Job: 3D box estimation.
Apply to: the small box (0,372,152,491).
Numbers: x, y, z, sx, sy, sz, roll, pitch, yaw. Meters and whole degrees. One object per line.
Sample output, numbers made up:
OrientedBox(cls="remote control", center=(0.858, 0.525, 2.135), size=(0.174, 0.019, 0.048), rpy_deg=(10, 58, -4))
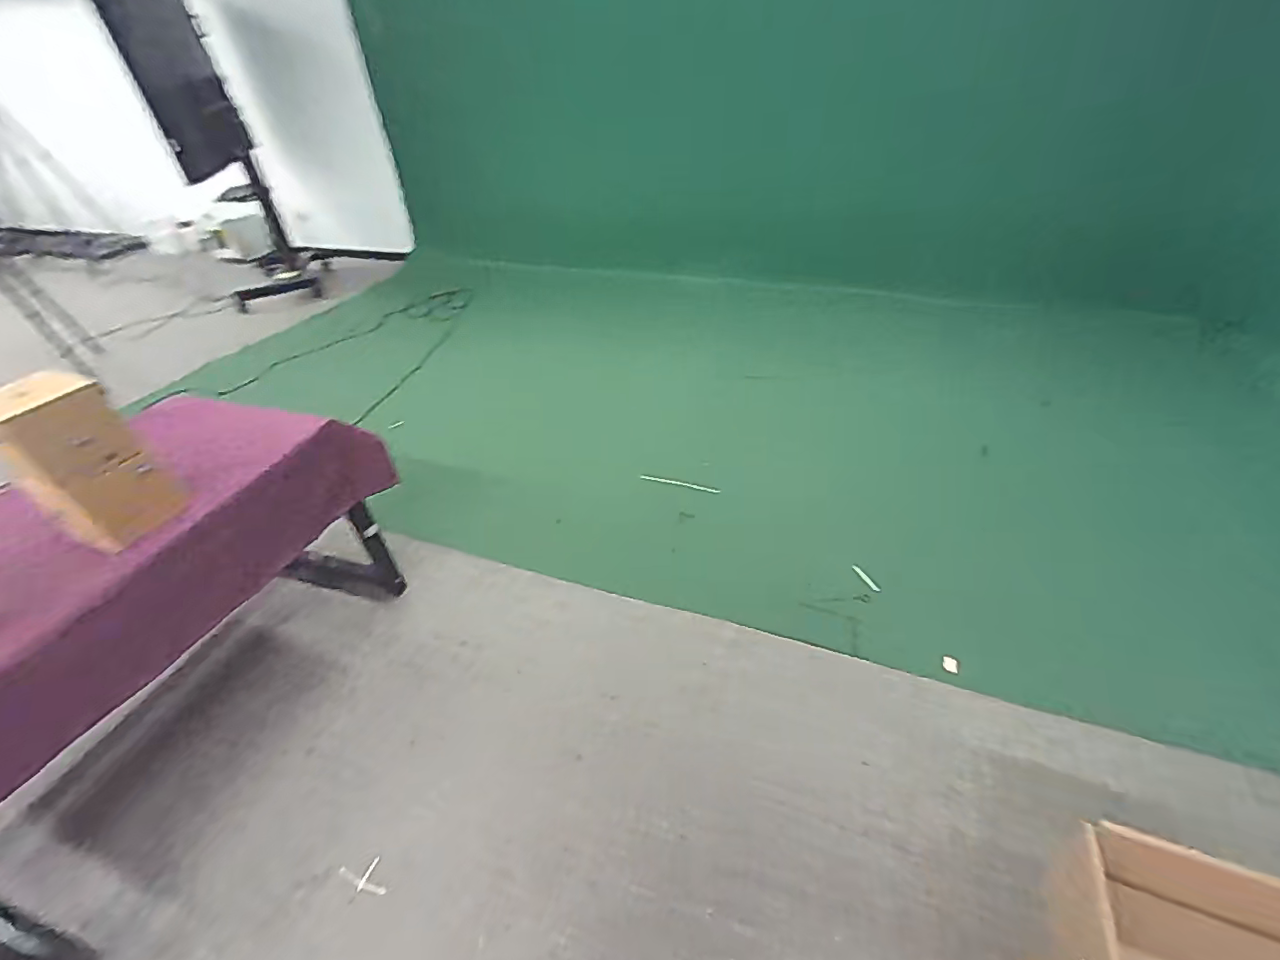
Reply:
OrientedBox(cls="small box", center=(-1.172, -0.098, 1.107), size=(0.179, 0.176, 0.168), rpy_deg=(12, 41, 20))

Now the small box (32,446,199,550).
OrientedBox(cls="small box", center=(-1.156, 0.031, 1.209), size=(0.168, 0.176, 0.179), rpy_deg=(11, 41, 18))
